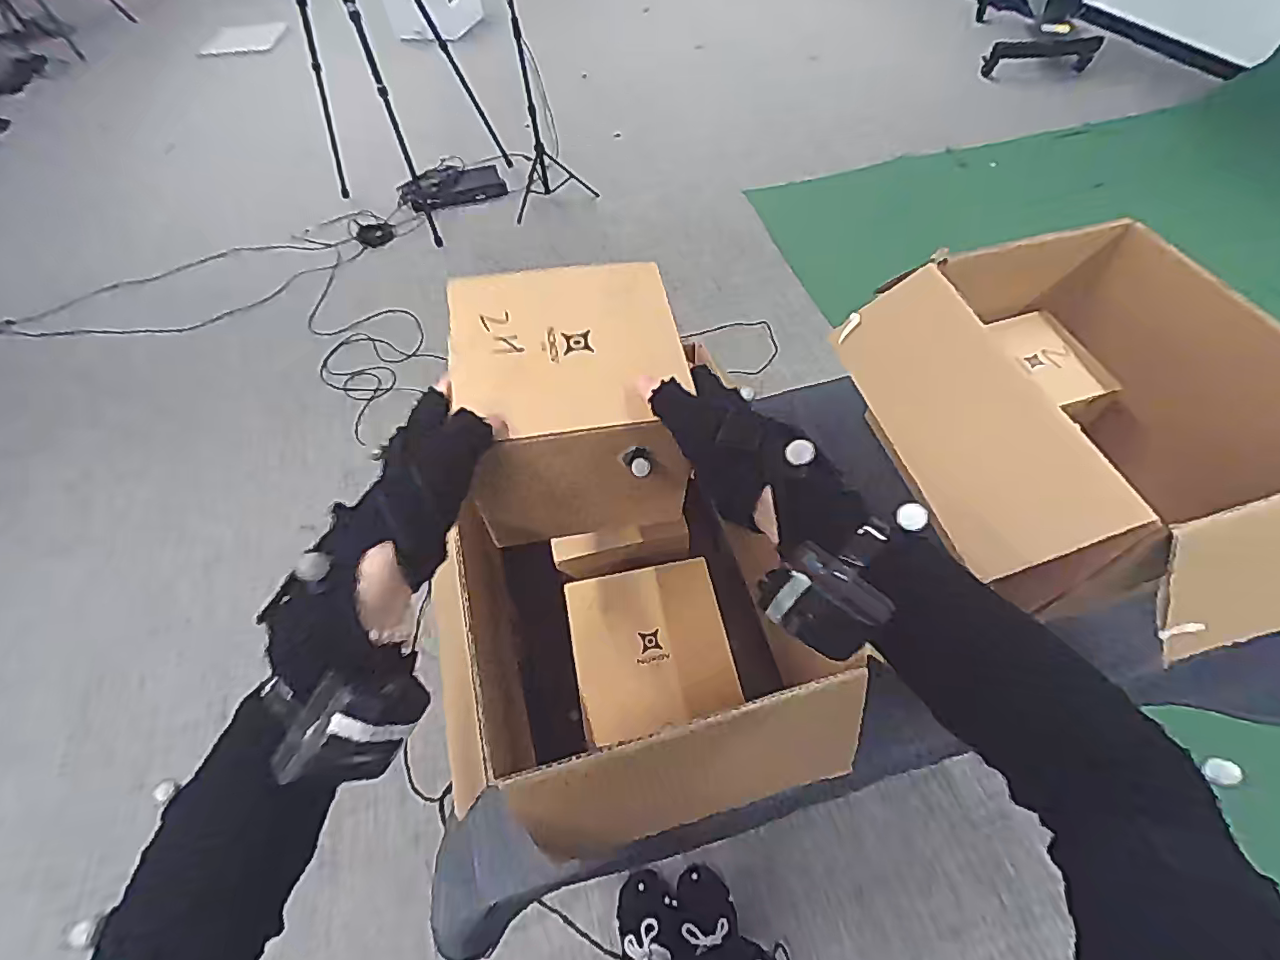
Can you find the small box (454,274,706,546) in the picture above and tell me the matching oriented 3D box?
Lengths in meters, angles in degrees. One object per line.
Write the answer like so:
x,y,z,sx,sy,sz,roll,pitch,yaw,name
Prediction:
-0.057,-0.055,0.476,0.179,0.176,0.168,-7,60,-8,small box
